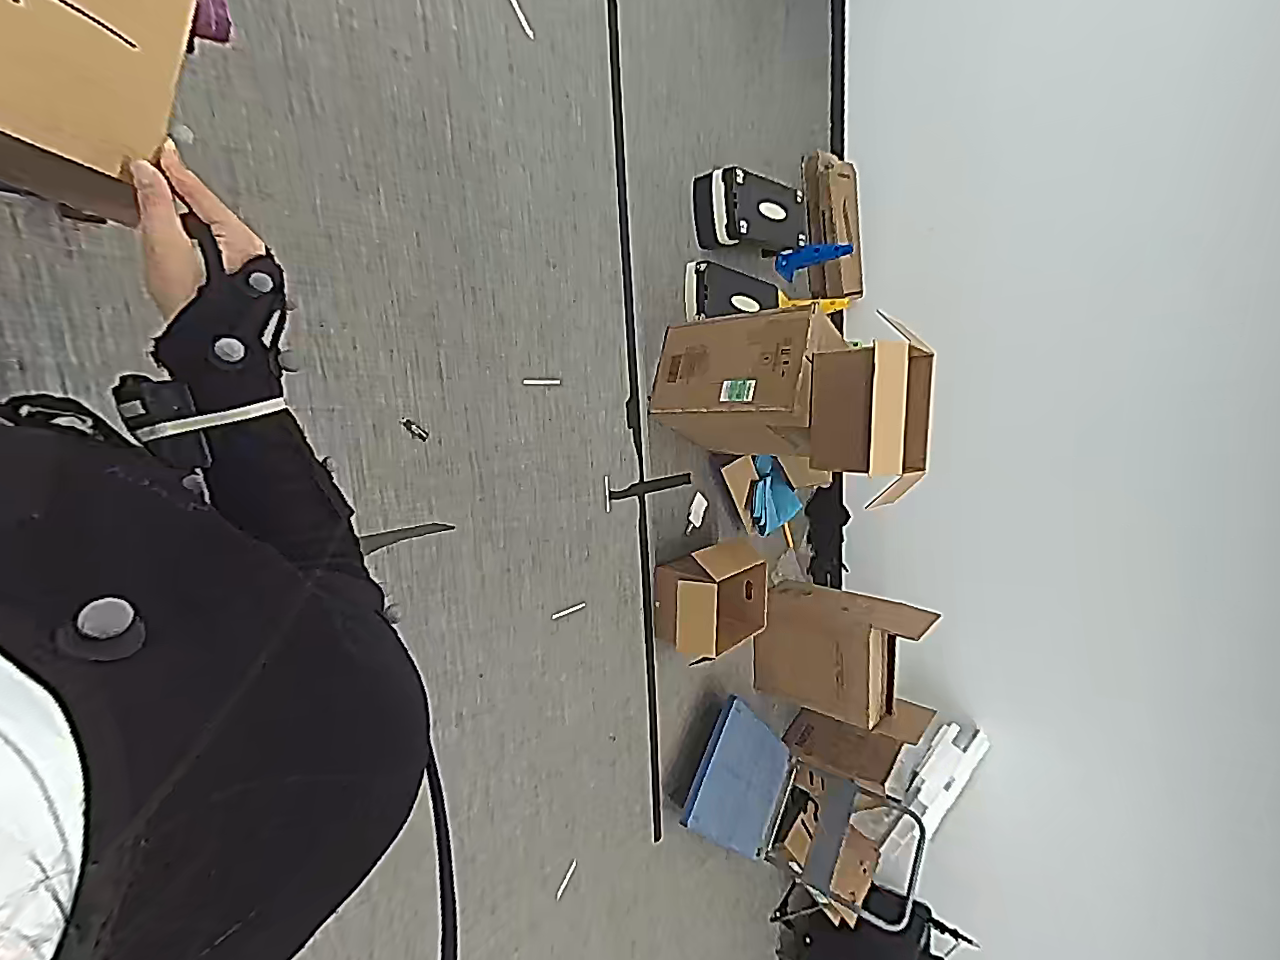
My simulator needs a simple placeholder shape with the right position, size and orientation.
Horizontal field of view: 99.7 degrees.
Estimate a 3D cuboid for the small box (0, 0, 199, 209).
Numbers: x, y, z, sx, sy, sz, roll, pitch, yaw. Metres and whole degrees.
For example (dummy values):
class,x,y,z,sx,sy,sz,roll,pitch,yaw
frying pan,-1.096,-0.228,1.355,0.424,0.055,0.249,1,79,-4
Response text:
class,x,y,z,sx,sy,sz,roll,pitch,yaw
small box,-0.407,-0.296,0.338,0.179,0.176,0.168,13,92,-47
